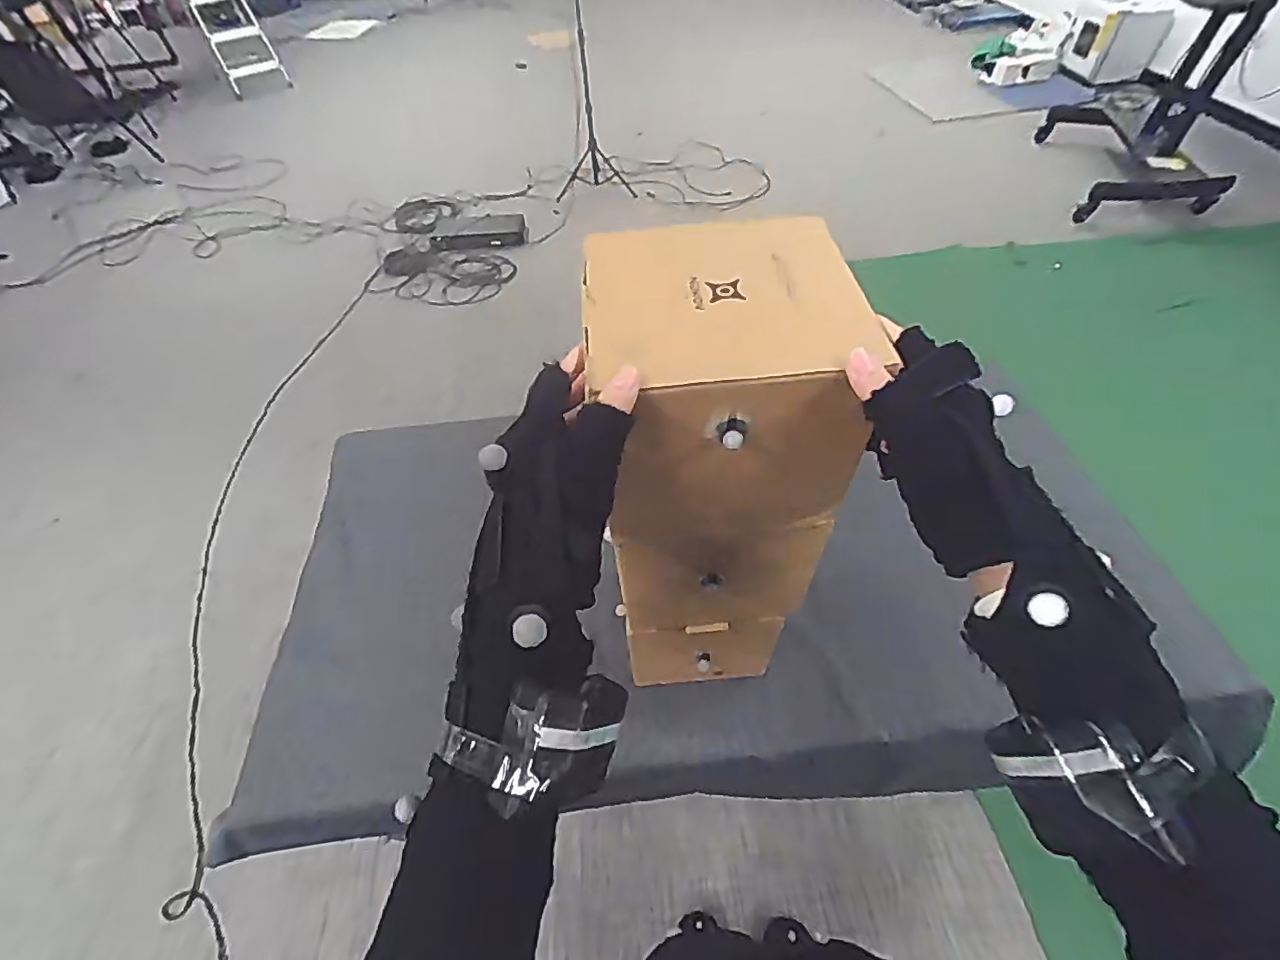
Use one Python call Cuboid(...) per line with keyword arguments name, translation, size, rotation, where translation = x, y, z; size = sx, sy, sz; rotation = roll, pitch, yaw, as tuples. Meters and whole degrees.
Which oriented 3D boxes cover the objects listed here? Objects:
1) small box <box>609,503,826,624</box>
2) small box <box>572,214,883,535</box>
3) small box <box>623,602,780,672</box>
Cuboid(name="small box", translation=(0.061, 0.028, 0.539), size=(0.179, 0.176, 0.168), rotation=(-7, 52, 0))
Cuboid(name="small box", translation=(0.049, -0.071, 0.409), size=(0.179, 0.176, 0.168), rotation=(-6, 54, -1))
Cuboid(name="small box", translation=(0.066, 0.127, 0.671), size=(0.168, 0.176, 0.179), rotation=(-6, 52, 0))
